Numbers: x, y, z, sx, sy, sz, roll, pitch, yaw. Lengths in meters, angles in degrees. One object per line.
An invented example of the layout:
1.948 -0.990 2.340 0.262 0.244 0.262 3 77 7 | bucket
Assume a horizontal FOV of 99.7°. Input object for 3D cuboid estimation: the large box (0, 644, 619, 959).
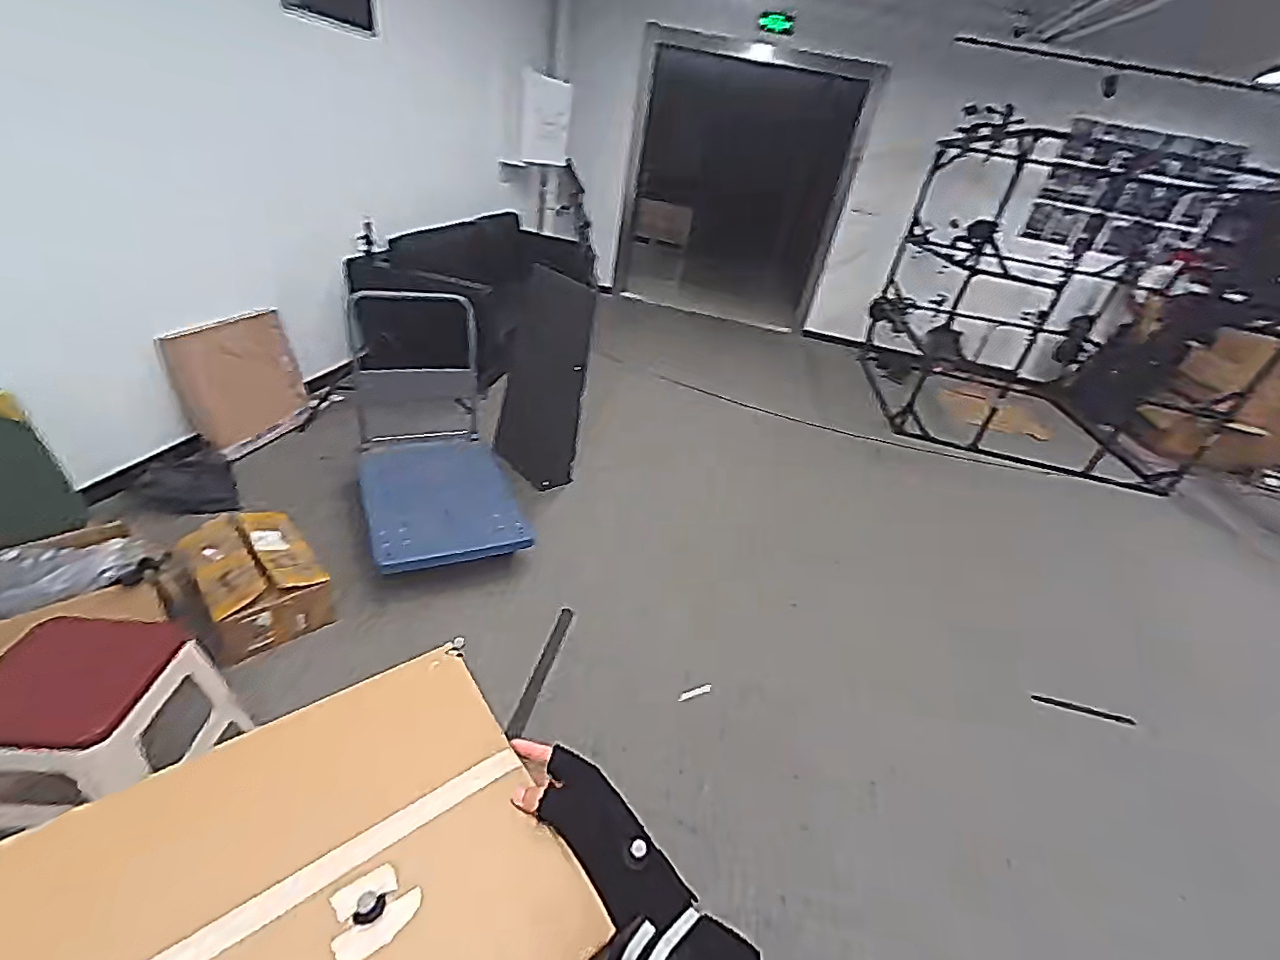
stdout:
-0.274 0.431 0.480 0.408 0.320 0.320 -17 40 -33 | large box
